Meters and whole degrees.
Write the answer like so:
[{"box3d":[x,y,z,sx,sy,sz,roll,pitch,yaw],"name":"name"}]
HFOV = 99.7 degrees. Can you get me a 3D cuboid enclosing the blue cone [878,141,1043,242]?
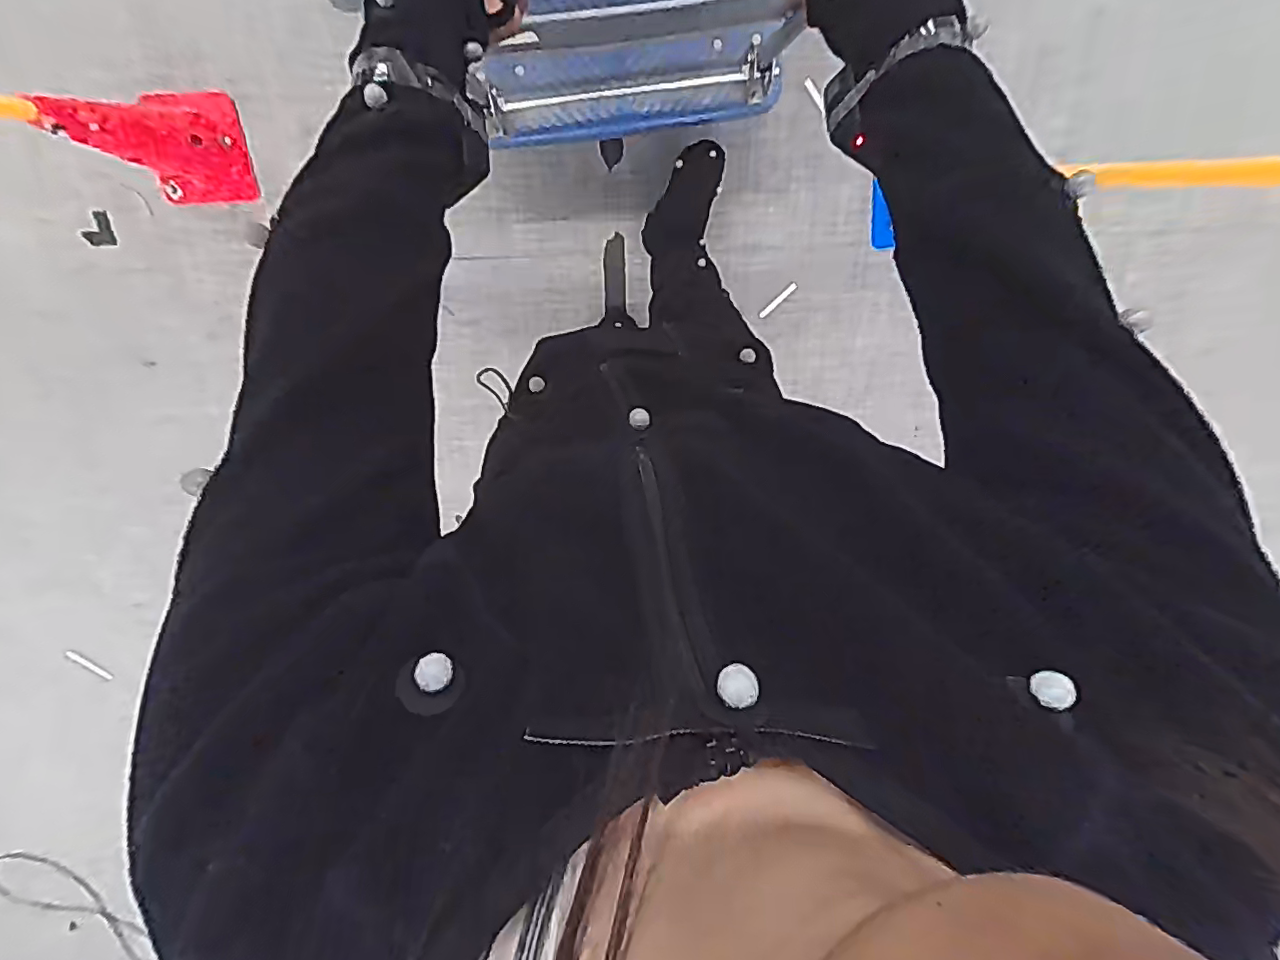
[{"box3d":[0.632,-0.579,1.054,0.193,0.380,0.192,-6,112,0],"name":"blue cone"}]
